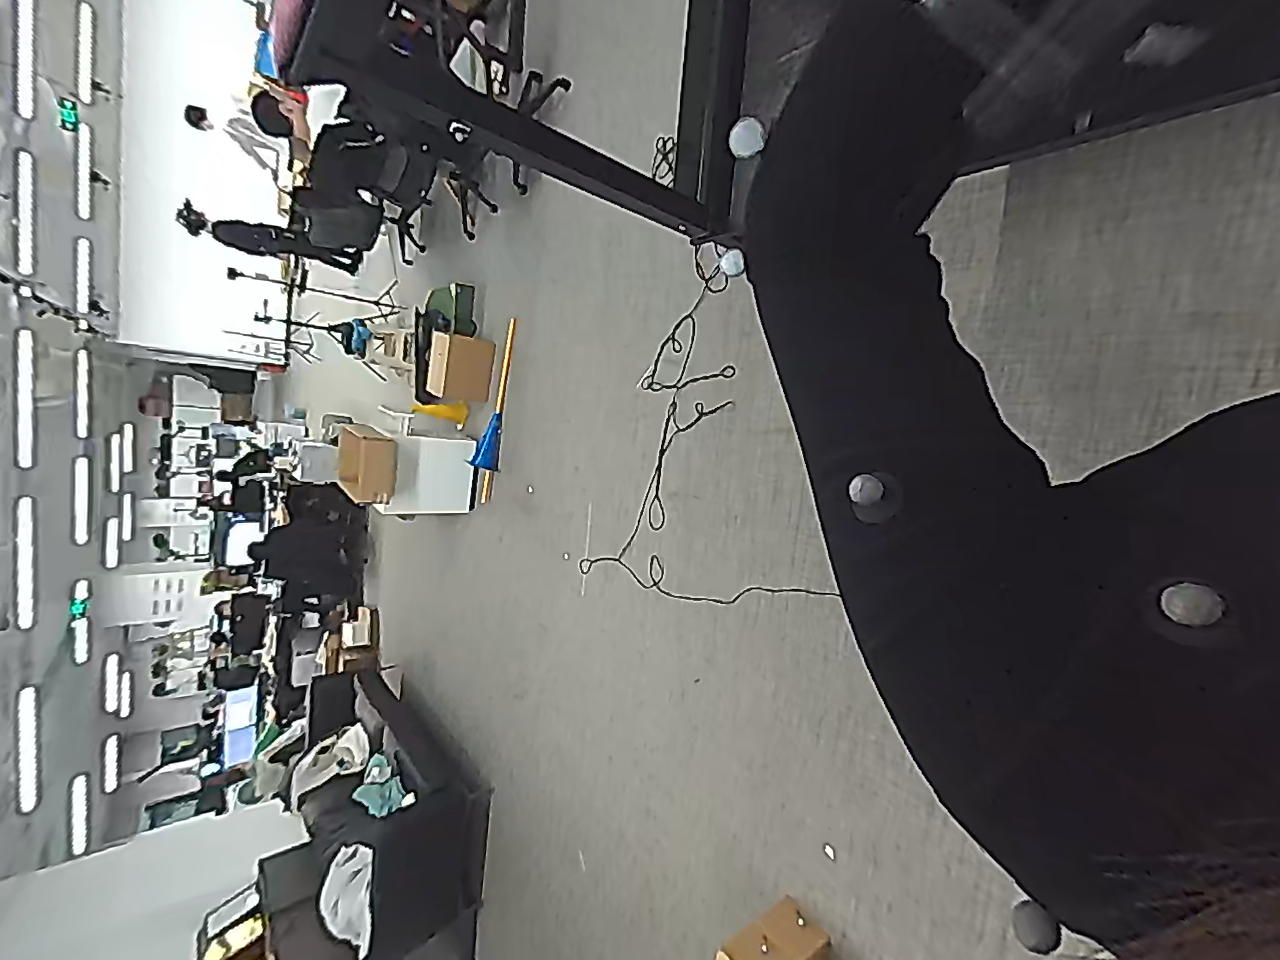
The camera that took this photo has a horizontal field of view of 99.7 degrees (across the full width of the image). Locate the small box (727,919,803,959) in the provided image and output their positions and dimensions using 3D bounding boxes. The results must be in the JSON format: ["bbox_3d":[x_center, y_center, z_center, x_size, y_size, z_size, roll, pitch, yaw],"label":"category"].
[{"bbox_3d":[0.367,1.469,1.596,0.168,0.176,0.179,19,104,48],"label":"small box"}]

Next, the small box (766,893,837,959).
[{"bbox_3d":[0.495,1.467,1.700,0.168,0.176,0.179,22,105,48],"label":"small box"}]
